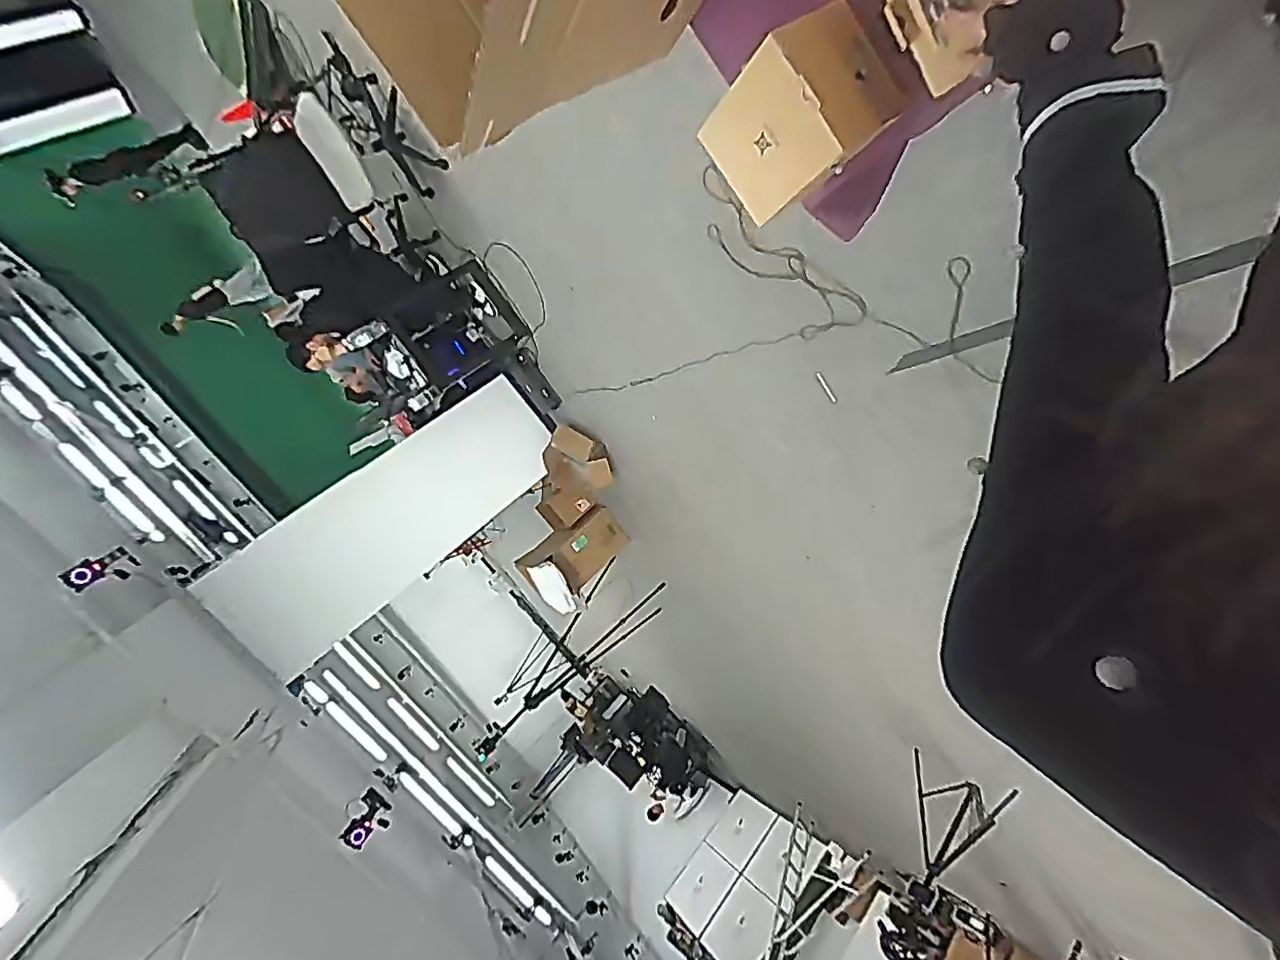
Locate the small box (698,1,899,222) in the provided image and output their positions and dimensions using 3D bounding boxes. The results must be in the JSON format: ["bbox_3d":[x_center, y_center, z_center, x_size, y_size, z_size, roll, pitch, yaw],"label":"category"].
[{"bbox_3d":[0.222,-0.513,0.765,0.168,0.176,0.179,52,154,-9],"label":"small box"}]
